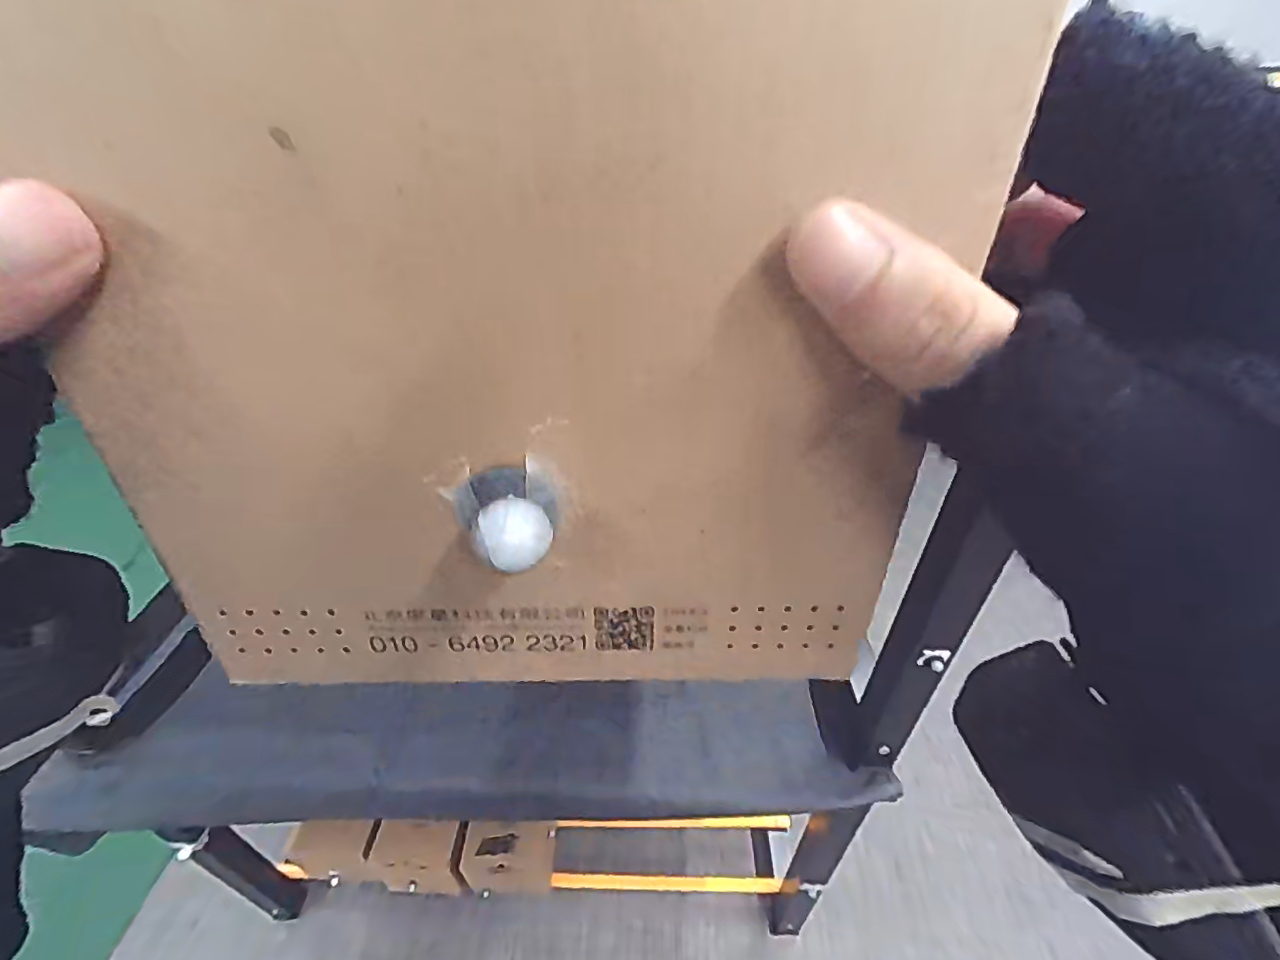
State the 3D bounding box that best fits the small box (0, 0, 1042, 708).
[{"bbox_3d":[-0.025,-0.052,0.183,0.168,0.176,0.179,0,31,0],"label":"small box"}]
